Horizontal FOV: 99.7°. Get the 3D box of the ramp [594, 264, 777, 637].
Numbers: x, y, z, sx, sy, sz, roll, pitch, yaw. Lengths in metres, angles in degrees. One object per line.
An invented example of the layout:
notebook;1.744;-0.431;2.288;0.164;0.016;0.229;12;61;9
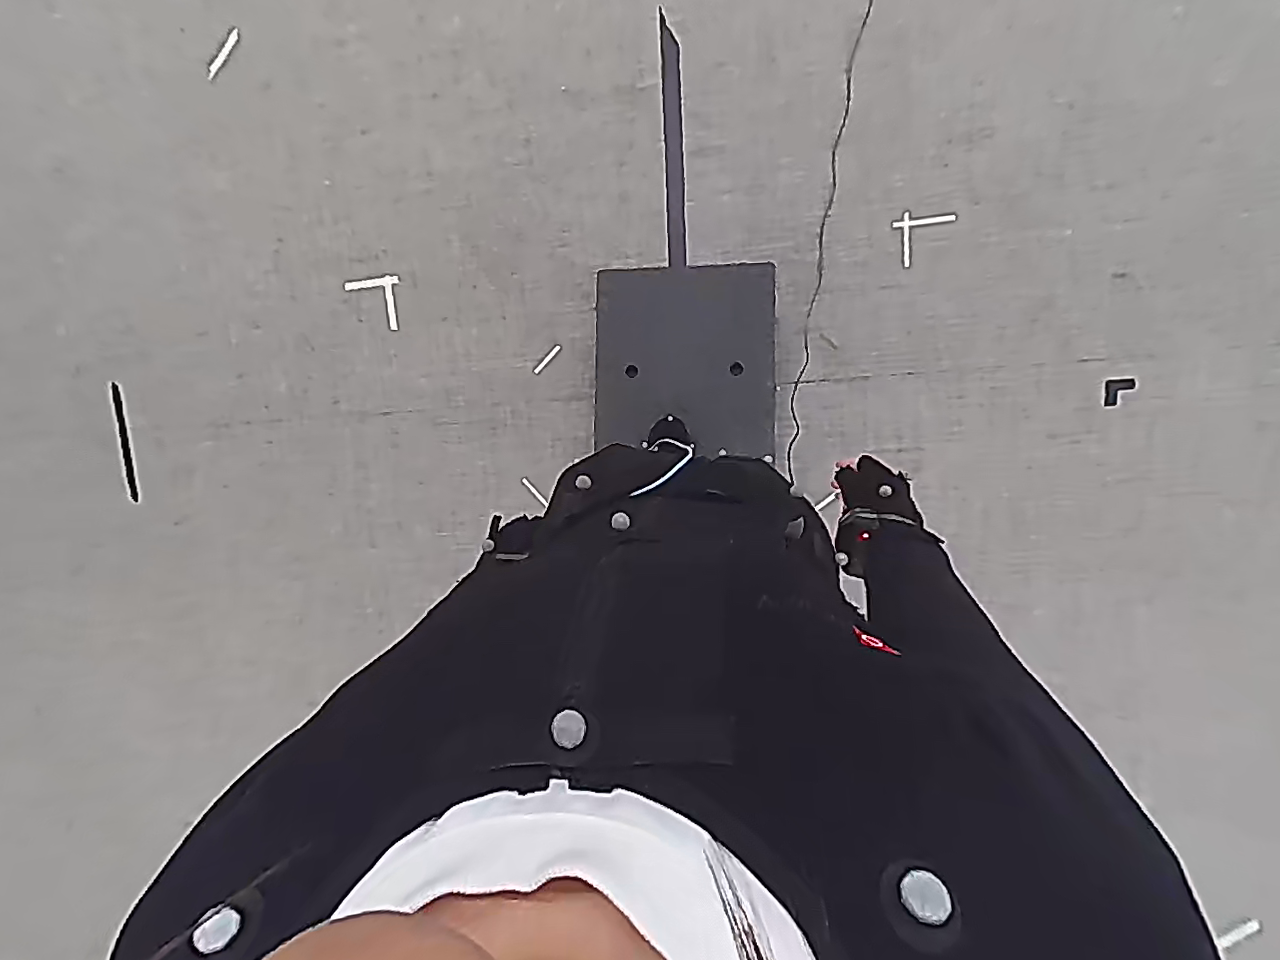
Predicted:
ramp;0.118;-0.089;1.464;0.509;0.206;0.991;-1;96;8
